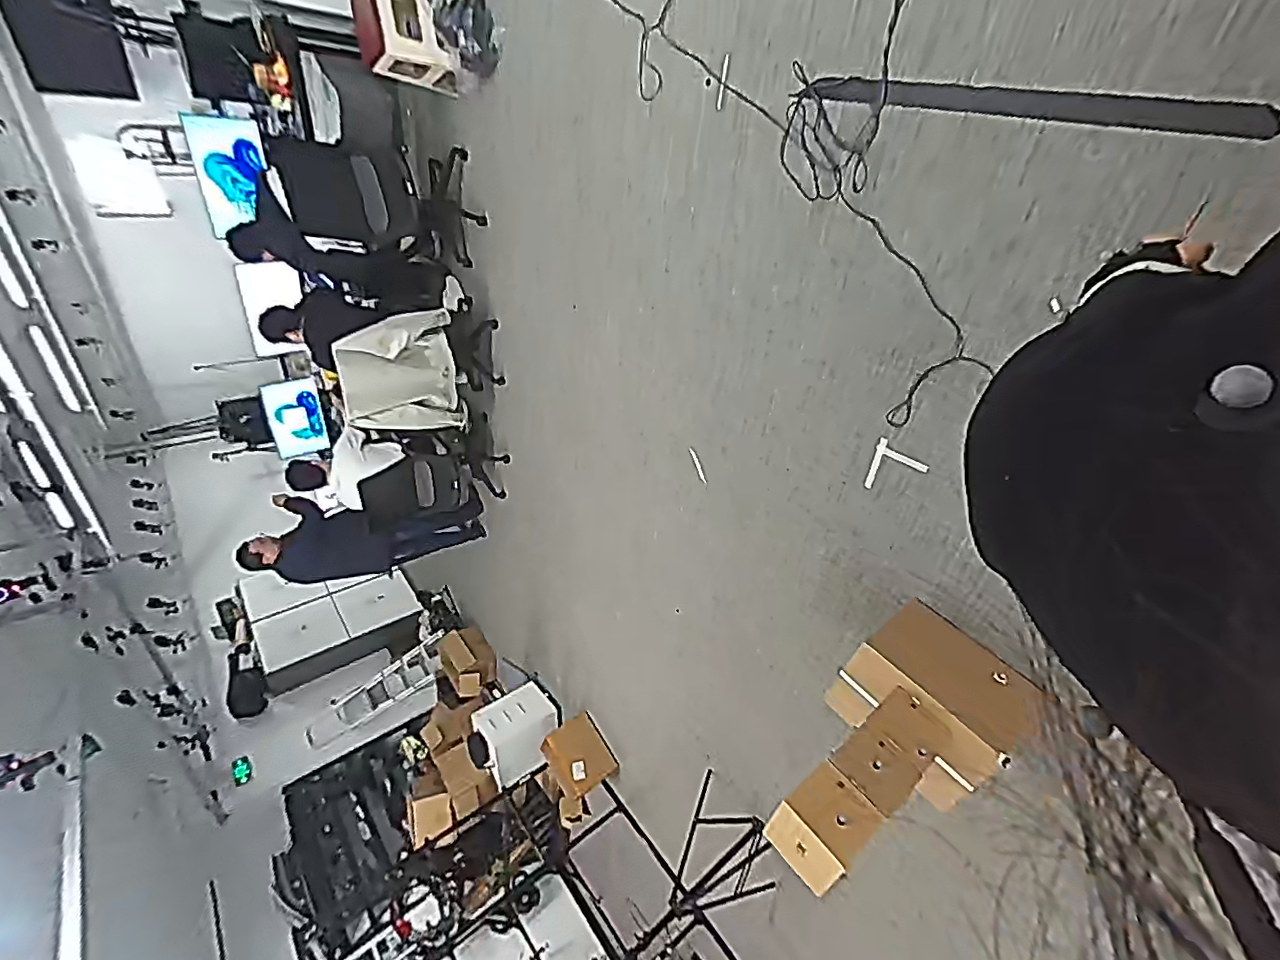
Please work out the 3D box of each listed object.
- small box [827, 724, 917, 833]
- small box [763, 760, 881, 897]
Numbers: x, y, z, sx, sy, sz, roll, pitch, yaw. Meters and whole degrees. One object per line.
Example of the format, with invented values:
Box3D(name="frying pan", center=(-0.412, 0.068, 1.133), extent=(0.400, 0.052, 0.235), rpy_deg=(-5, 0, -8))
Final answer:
Box3D(name="small box", center=(0.540, 0.738, 1.319), extent=(0.168, 0.176, 0.179), rpy_deg=(42, 136, 34))
Box3D(name="small box", center=(0.414, 0.781, 1.226), extent=(0.168, 0.176, 0.179), rpy_deg=(40, 136, 35))
